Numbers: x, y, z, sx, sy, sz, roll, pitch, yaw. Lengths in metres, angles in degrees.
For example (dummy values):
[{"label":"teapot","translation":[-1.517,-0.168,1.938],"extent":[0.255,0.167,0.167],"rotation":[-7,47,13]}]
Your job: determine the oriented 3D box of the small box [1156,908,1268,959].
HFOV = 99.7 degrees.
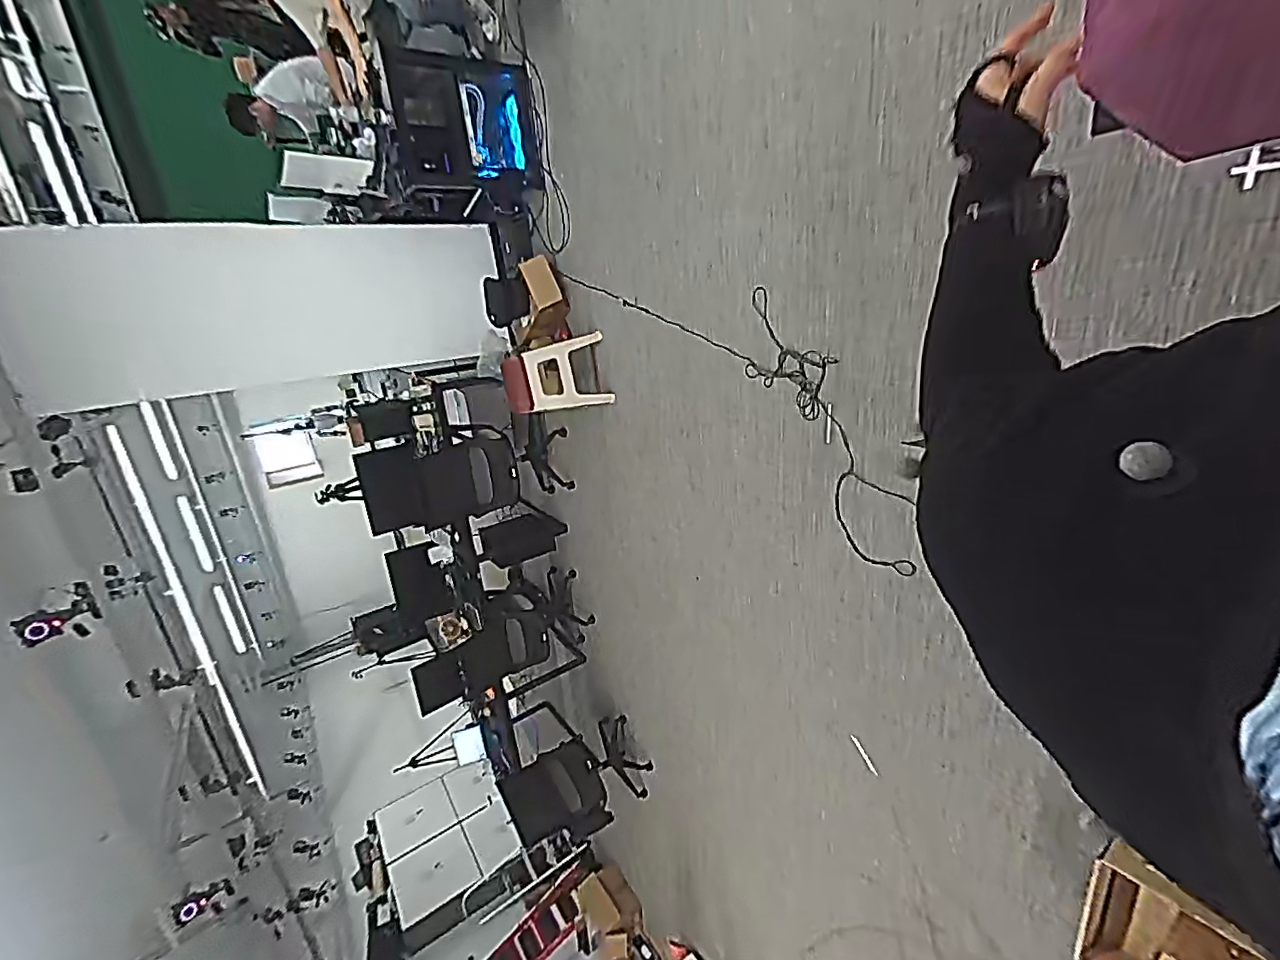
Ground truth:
[{"label":"small box","translation":[1.305,1.150,1.235],"extent":[0.168,0.176,0.179],"rotation":[26,126,49]}]
